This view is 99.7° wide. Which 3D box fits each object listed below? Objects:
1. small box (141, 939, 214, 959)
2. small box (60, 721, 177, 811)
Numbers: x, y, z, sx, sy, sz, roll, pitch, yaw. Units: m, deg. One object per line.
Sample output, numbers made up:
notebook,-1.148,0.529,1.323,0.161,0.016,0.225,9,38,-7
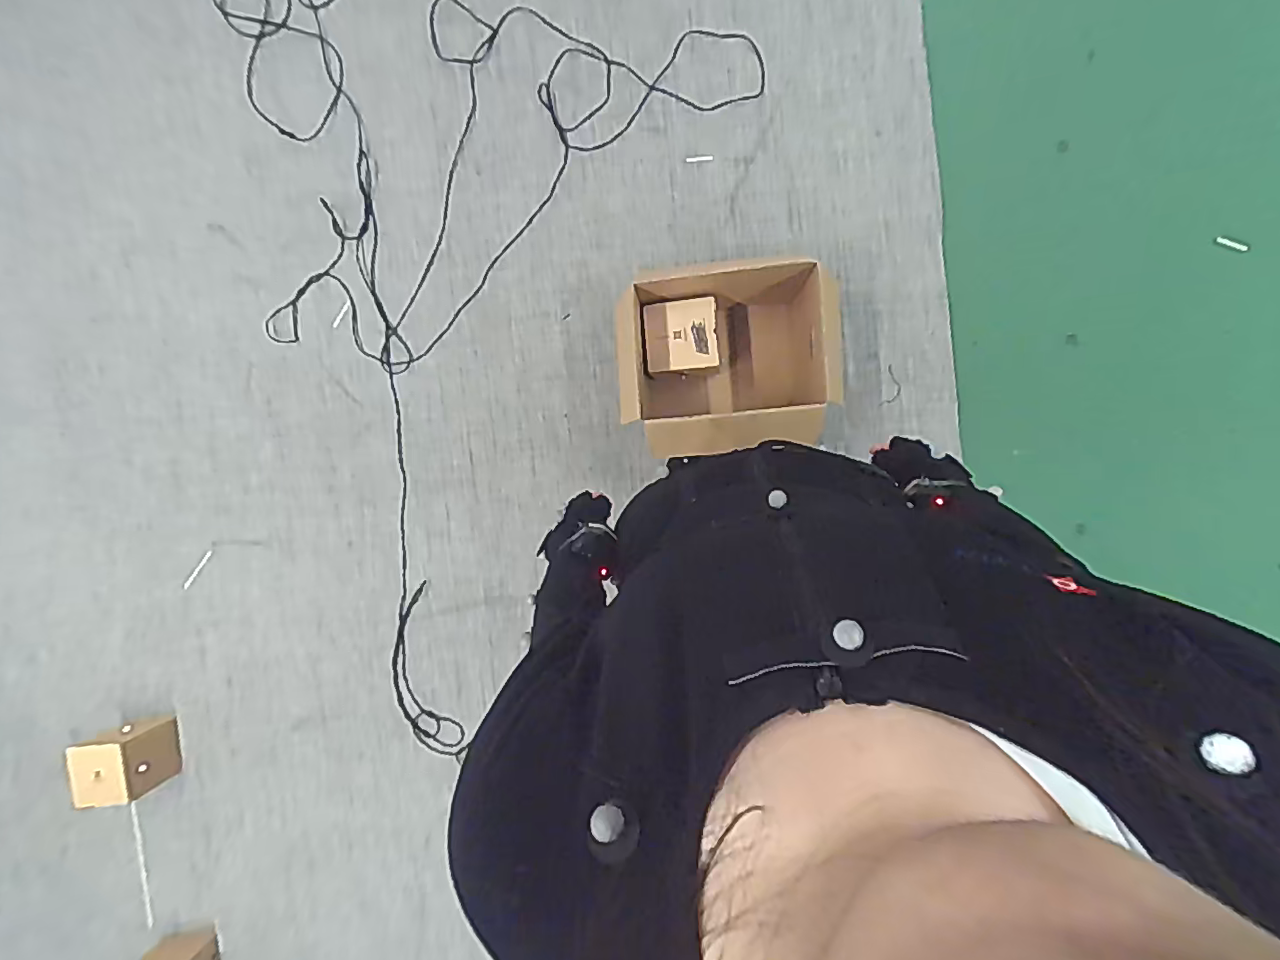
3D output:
small box,-1.392,1.490,1.577,0.179,0.176,0.168,-7,92,5
small box,-1.491,0.812,1.556,0.168,0.176,0.179,-7,92,4
